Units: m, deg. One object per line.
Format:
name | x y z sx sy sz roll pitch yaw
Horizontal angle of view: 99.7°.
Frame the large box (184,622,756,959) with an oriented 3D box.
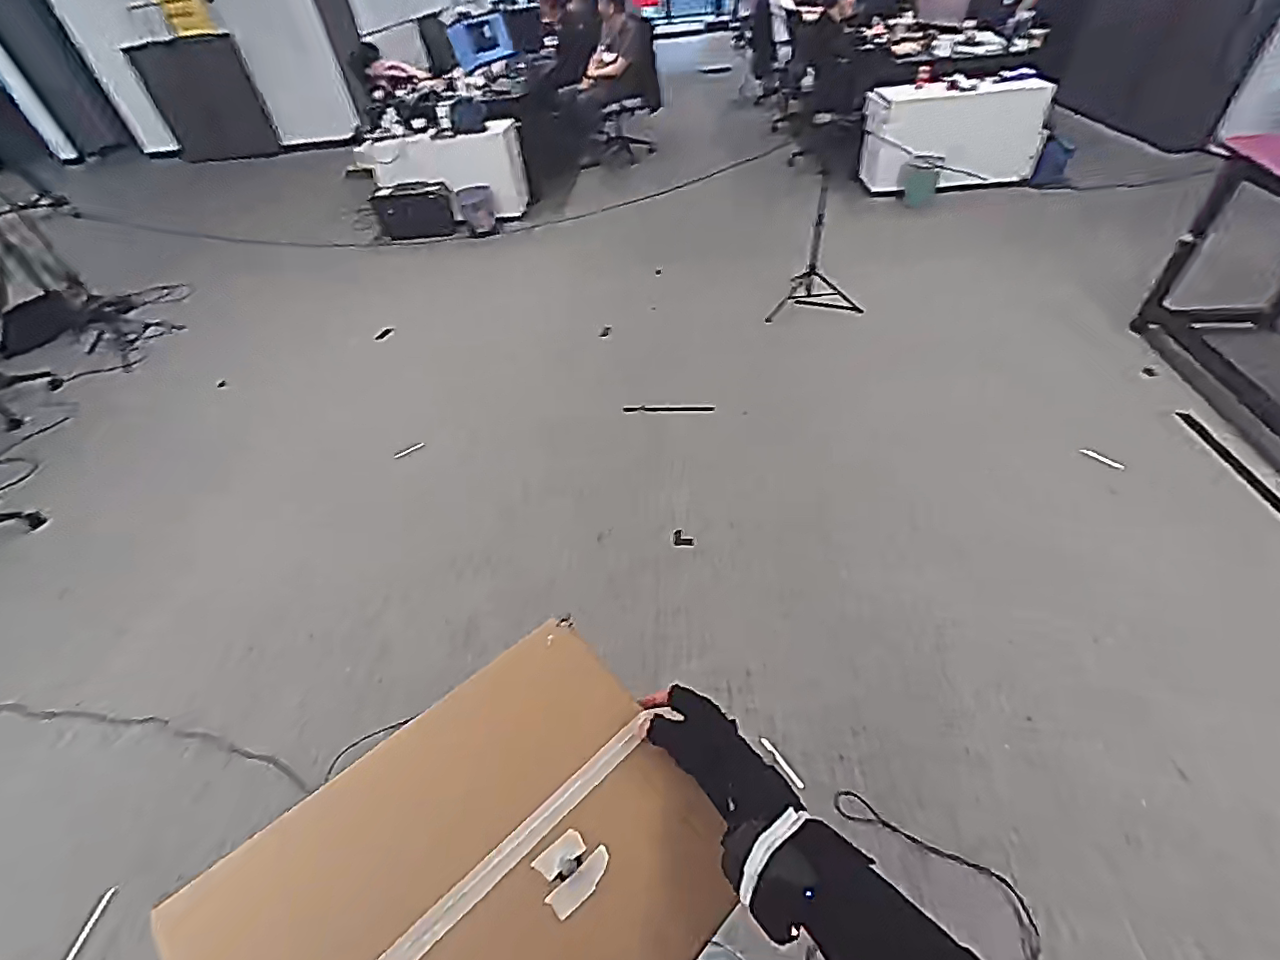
large box | -0.143 0.447 0.582 0.408 0.320 0.320 -33 58 -28
